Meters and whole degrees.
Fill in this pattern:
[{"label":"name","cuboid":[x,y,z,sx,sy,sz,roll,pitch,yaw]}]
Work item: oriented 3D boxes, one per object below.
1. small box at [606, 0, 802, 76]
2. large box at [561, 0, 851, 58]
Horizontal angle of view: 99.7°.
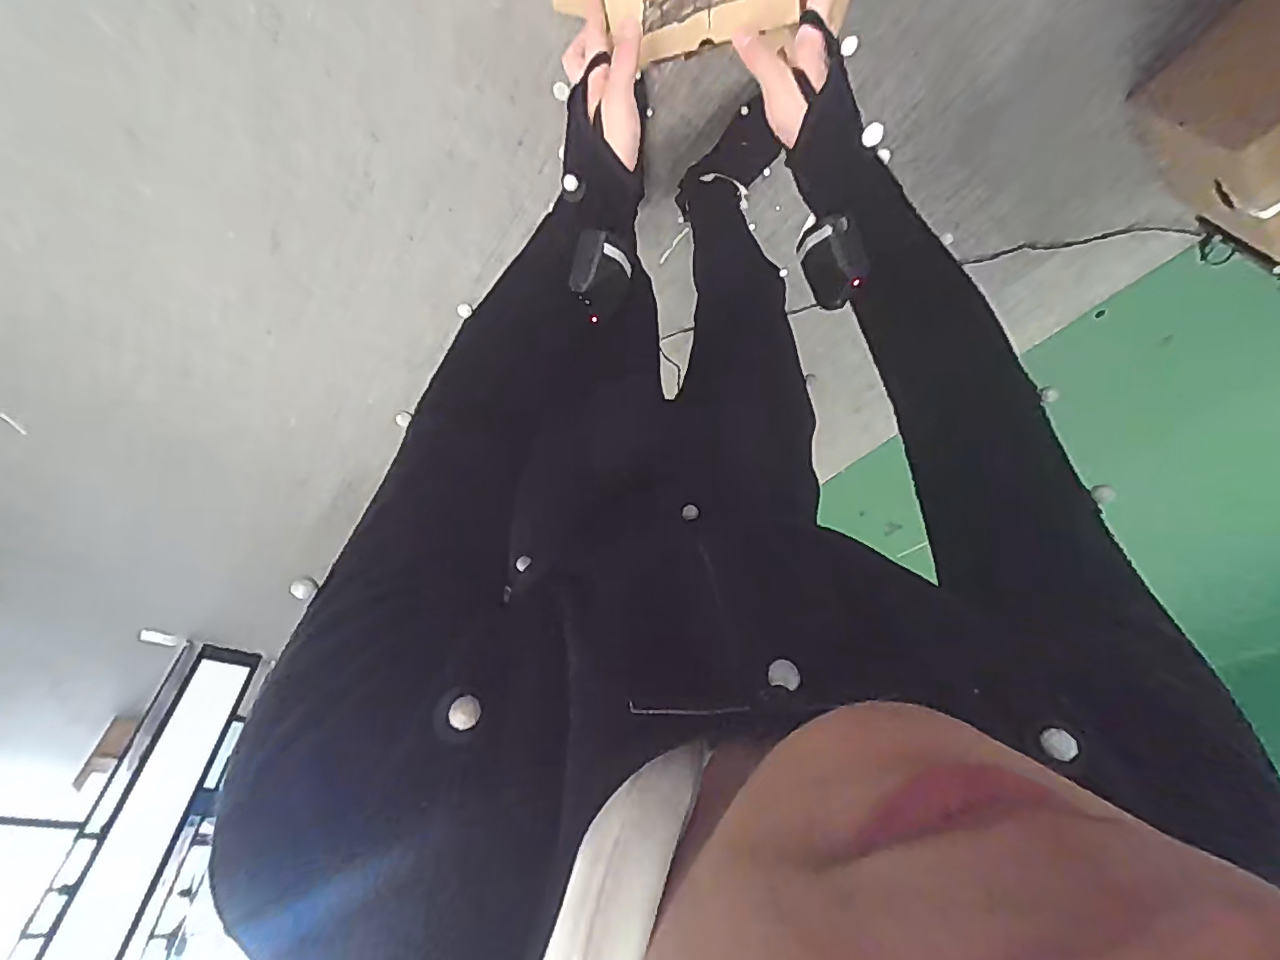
[{"label":"small box","cuboid":[0.047,-0.498,0.496,0.168,0.176,0.179,-9,125,9]},{"label":"large box","cuboid":[0.102,-0.842,0.755,0.408,0.320,0.320,5,139,-8]}]
